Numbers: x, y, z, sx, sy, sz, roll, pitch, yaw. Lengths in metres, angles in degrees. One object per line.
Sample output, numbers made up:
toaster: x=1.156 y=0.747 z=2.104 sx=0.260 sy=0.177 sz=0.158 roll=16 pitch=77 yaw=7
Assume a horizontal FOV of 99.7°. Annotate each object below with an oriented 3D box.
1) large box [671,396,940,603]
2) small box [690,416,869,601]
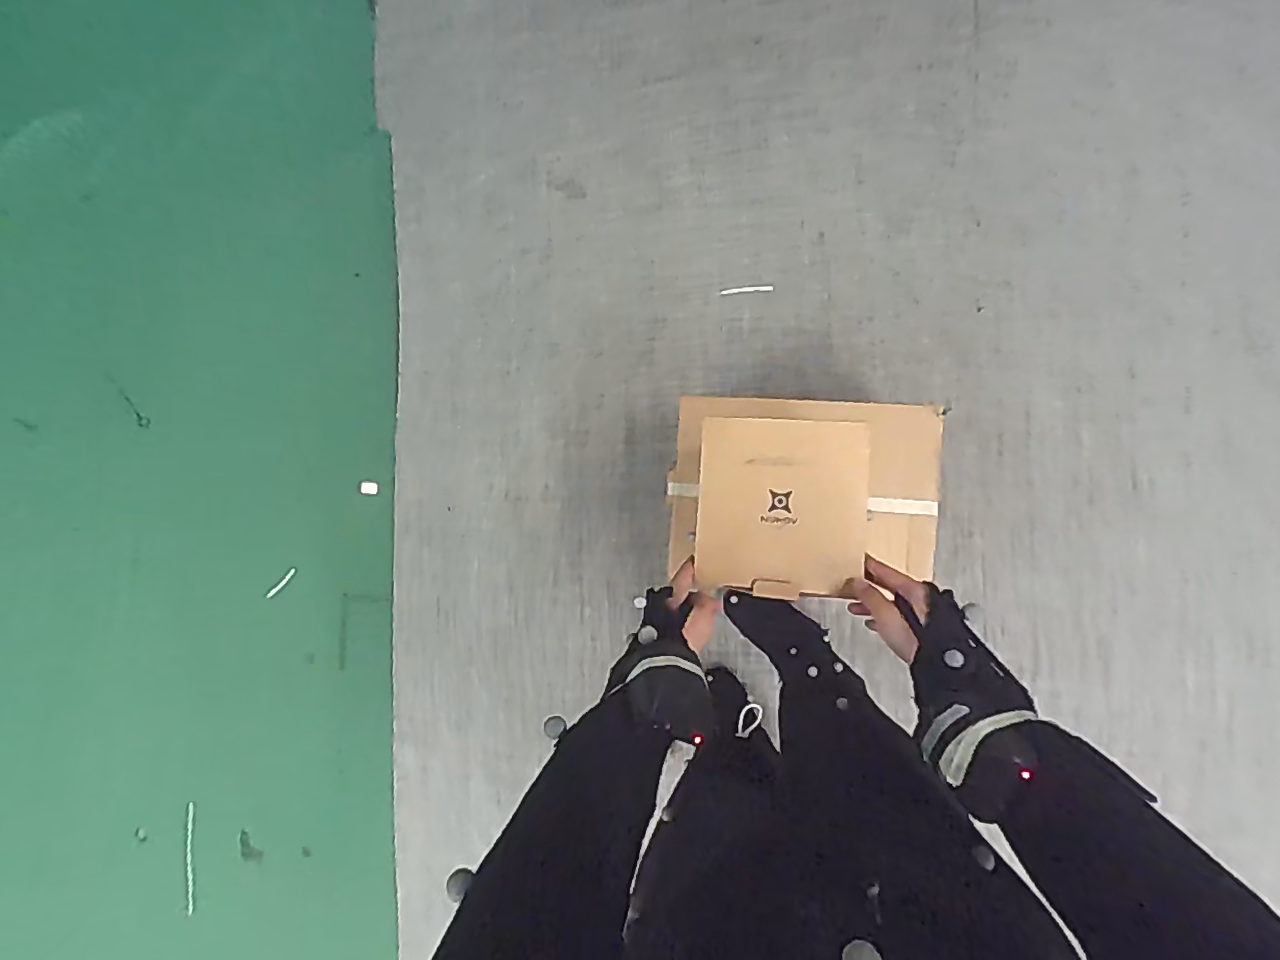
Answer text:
large box: x=0.281 y=0.027 z=1.004 sx=0.408 sy=0.320 sz=0.320 roll=4 pitch=91 yaw=12
small box: x=0.151 y=0.029 z=0.612 sx=0.168 sy=0.176 sz=0.179 roll=3 pitch=87 yaw=10
